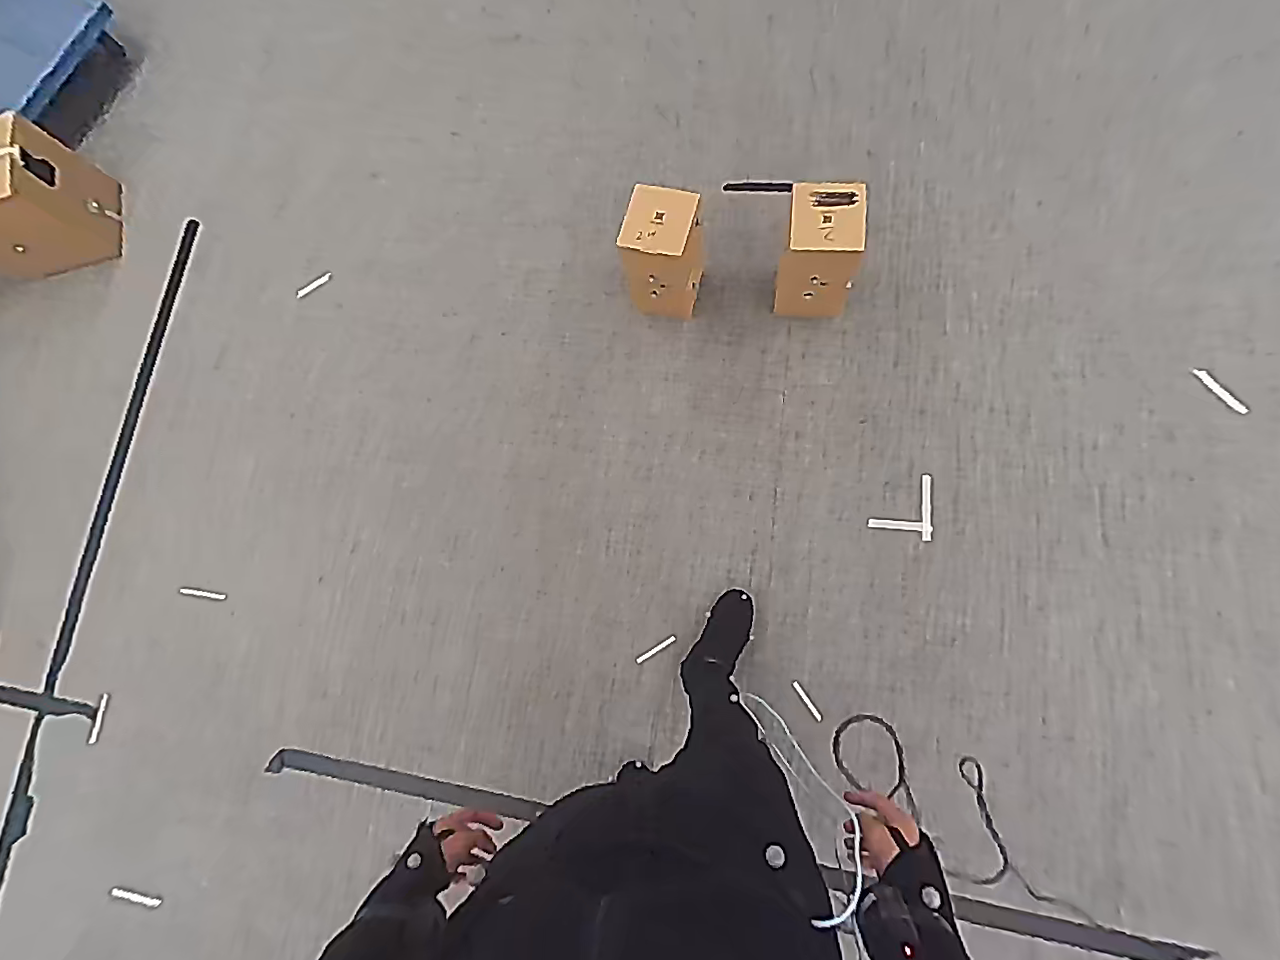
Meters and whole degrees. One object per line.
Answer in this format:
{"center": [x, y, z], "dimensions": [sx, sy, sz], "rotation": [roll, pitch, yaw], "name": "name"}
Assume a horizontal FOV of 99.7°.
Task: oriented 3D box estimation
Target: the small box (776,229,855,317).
{"center": [0.474, -0.561, 1.479], "dimensions": [0.179, 0.176, 0.168], "rotation": [5, 81, 7], "name": "small box"}

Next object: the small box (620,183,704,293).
{"center": [0.062, -0.610, 1.374], "dimensions": [0.168, 0.176, 0.179], "rotation": [16, 82, 11], "name": "small box"}

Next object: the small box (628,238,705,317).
{"center": [0.083, -0.582, 1.535], "dimensions": [0.179, 0.176, 0.168], "rotation": [14, 82, 11], "name": "small box"}
